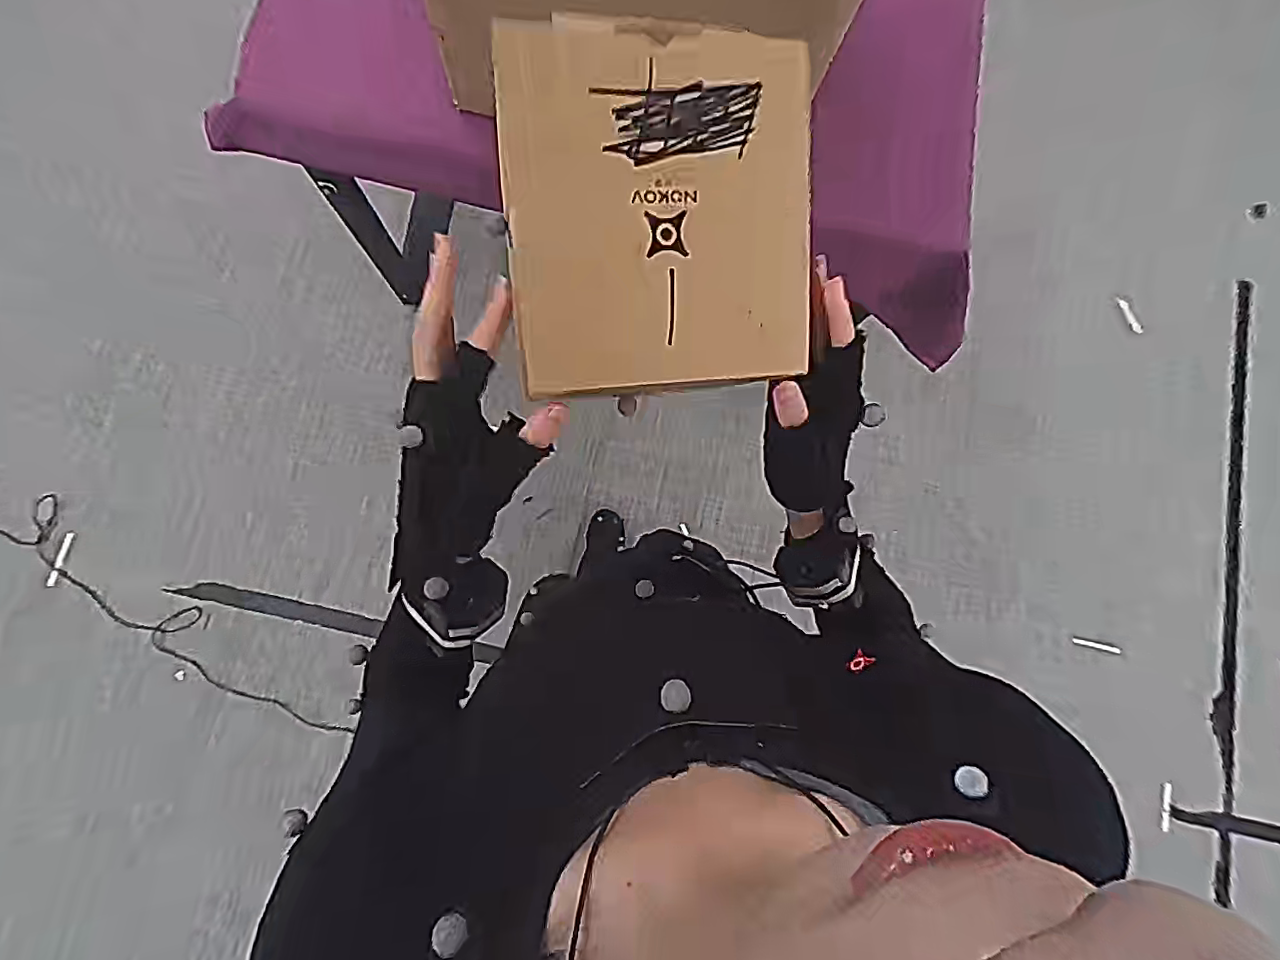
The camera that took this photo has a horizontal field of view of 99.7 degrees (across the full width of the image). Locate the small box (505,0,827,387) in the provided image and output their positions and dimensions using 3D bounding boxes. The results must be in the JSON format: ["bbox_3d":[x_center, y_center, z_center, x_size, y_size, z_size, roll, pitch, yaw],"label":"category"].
[{"bbox_3d":[0.002,-0.154,0.351,0.168,0.176,0.179,-5,100,-12],"label":"small box"}]
